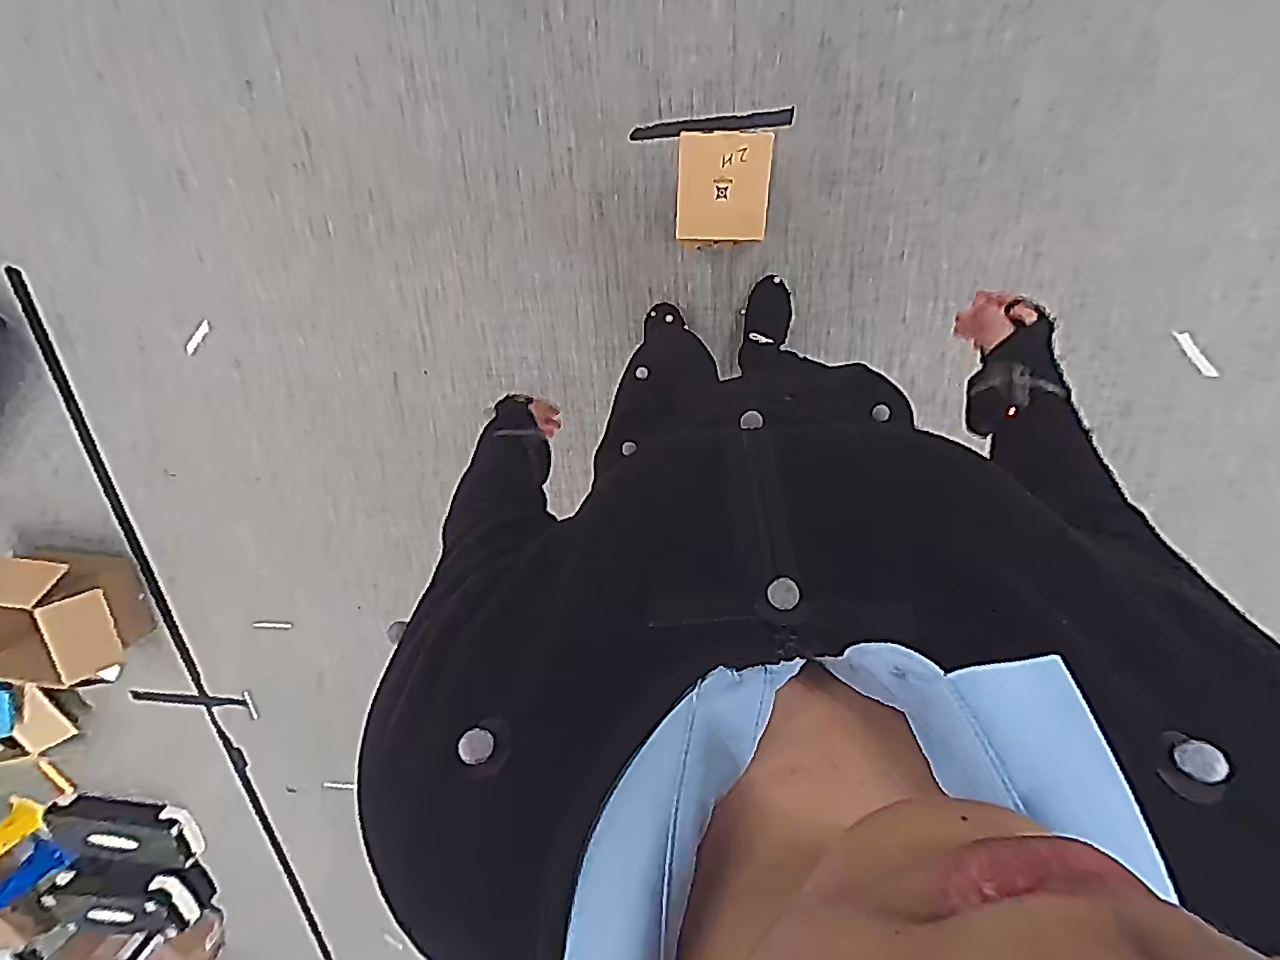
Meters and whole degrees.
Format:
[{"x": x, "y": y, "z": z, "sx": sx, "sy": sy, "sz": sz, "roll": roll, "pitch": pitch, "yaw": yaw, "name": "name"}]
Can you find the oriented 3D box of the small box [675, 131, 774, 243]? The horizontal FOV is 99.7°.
[{"x": 0.160, "y": -0.556, "z": 1.046, "sx": 0.168, "sy": 0.176, "sz": 0.179, "roll": 4, "pitch": 112, "yaw": 6, "name": "small box"}]
